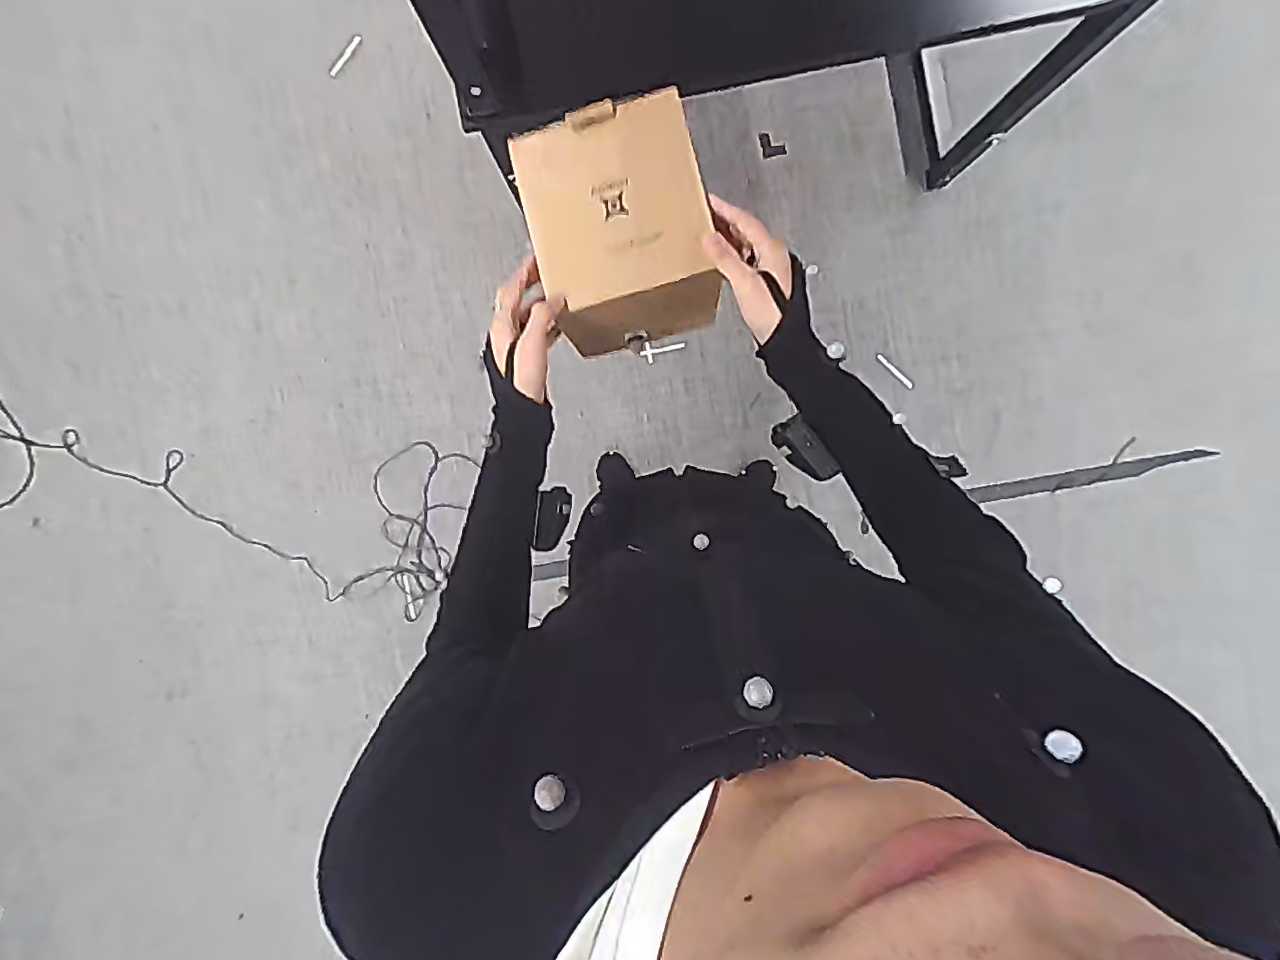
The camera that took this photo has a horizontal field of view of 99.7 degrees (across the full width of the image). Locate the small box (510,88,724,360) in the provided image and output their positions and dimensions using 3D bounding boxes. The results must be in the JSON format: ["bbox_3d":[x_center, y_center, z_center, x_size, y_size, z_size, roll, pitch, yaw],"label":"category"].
[{"bbox_3d":[-0.017,-0.249,0.569,0.168,0.176,0.179,-15,85,5],"label":"small box"}]
